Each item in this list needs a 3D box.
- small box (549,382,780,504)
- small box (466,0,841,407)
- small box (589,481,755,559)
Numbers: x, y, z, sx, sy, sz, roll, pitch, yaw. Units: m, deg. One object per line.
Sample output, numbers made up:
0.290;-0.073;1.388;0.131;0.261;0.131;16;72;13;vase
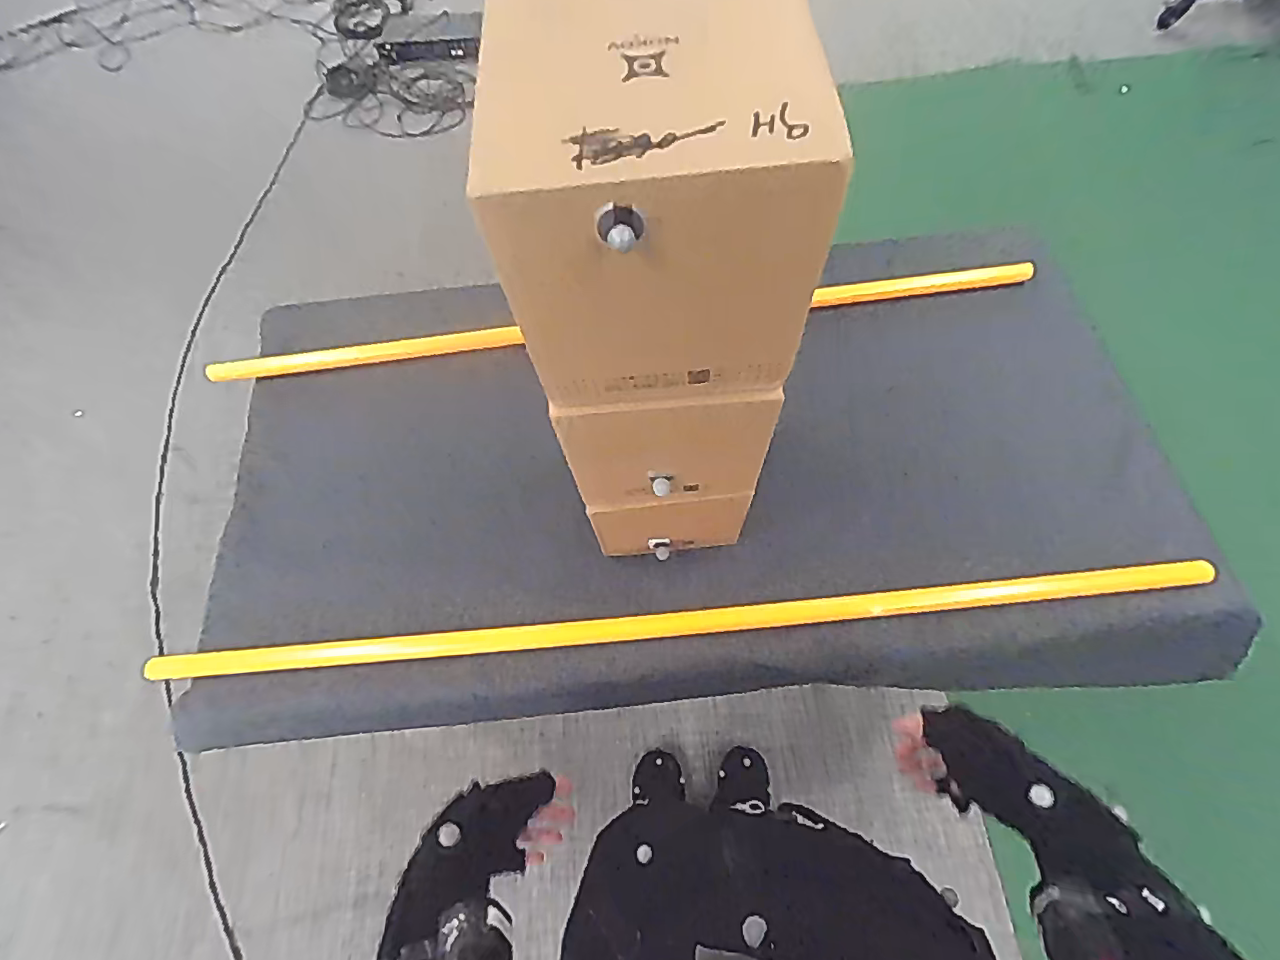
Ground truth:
0.019;-0.093;0.487;0.168;0.176;0.179;-4;66;3;small box
0.008;-0.168;0.341;0.168;0.176;0.179;-5;64;3;small box
0.028;-0.020;0.634;0.168;0.176;0.179;-8;66;1;small box
